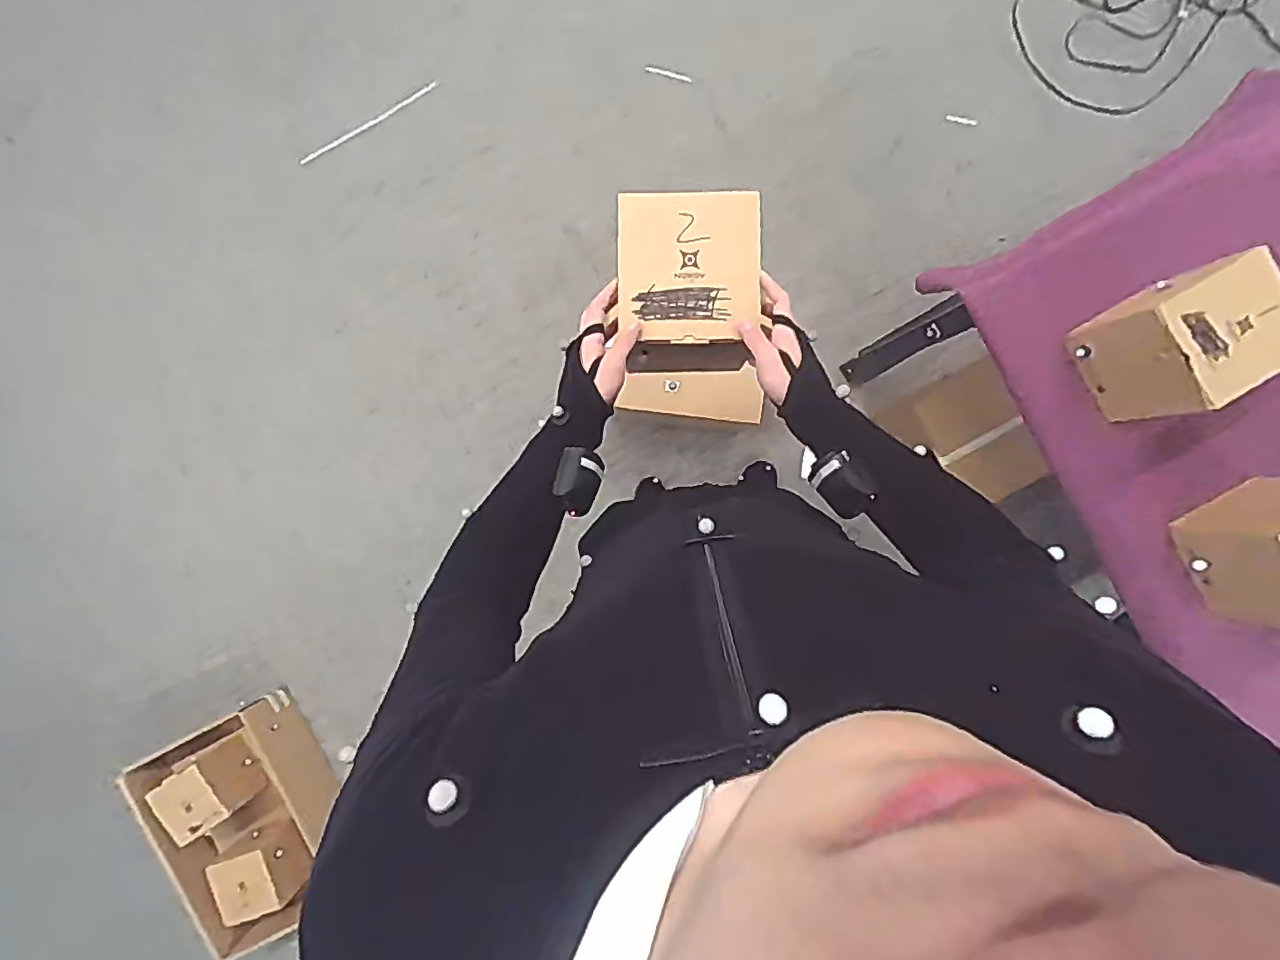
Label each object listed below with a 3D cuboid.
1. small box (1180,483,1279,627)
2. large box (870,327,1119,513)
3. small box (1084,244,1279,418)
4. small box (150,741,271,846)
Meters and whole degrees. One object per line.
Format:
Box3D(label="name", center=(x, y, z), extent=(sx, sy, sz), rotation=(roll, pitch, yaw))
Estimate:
Box3D(label="small box", center=(0.995, 0.111, 0.809), extent=(0.179, 0.176, 0.168), rotation=(-27, 90, 1))
Box3D(label="large box", center=(0.927, -0.146, 1.467), extent=(0.408, 0.320, 0.320), rotation=(-29, 91, 0))
Box3D(label="small box", center=(0.819, -0.206, 0.804), extent=(0.179, 0.176, 0.168), rotation=(-30, 91, 0))
Box3D(label="small box", center=(-1.214, 0.878, 1.541), extent=(0.168, 0.176, 0.179), rotation=(-32, 91, 1))
